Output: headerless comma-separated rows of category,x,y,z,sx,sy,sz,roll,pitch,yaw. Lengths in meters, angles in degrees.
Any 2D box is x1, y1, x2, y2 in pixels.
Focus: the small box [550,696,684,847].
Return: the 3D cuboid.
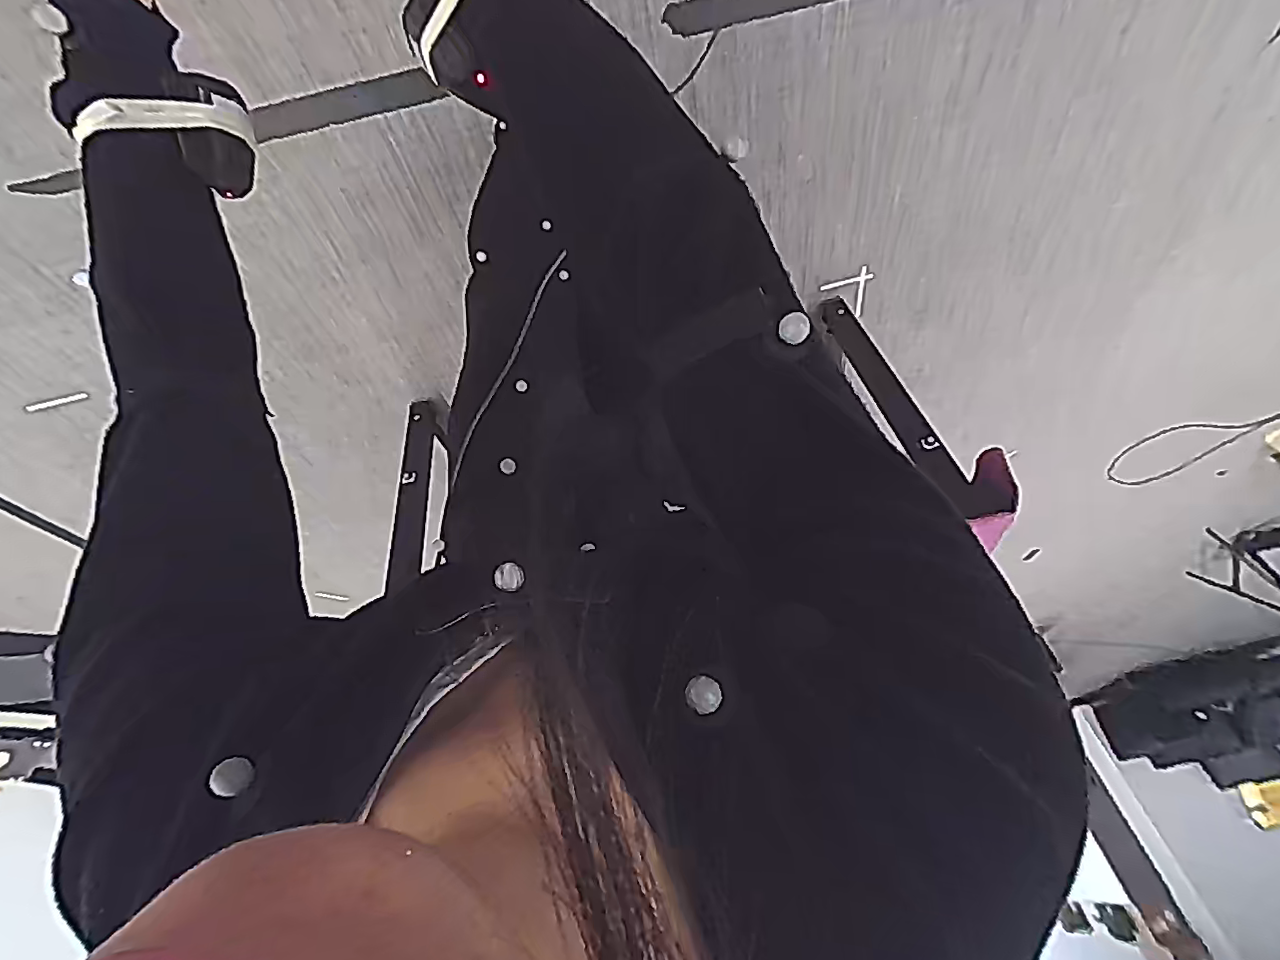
small box,-0.038,0.457,0.856,0.168,0.176,0.179,-15,142,1
